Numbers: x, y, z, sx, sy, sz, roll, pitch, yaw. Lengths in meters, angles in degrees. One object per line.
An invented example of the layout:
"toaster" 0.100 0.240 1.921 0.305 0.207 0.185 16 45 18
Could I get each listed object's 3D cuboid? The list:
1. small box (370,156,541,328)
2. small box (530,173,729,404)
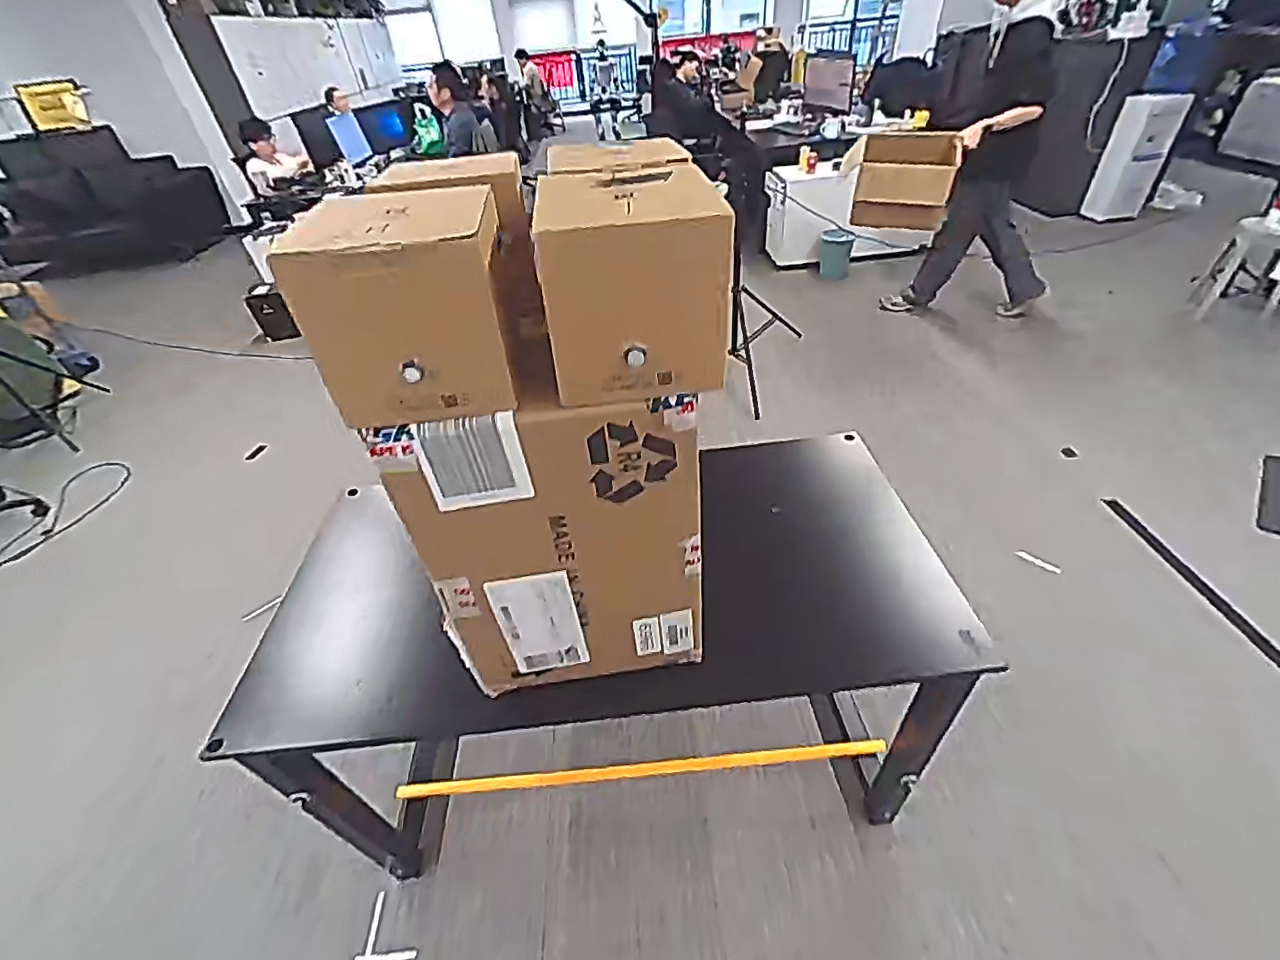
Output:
"small box" -0.229 -0.319 0.720 0.168 0.176 0.179 -10 38 -5
"small box" -0.012 -0.197 0.553 0.168 0.176 0.179 -7 41 -2
